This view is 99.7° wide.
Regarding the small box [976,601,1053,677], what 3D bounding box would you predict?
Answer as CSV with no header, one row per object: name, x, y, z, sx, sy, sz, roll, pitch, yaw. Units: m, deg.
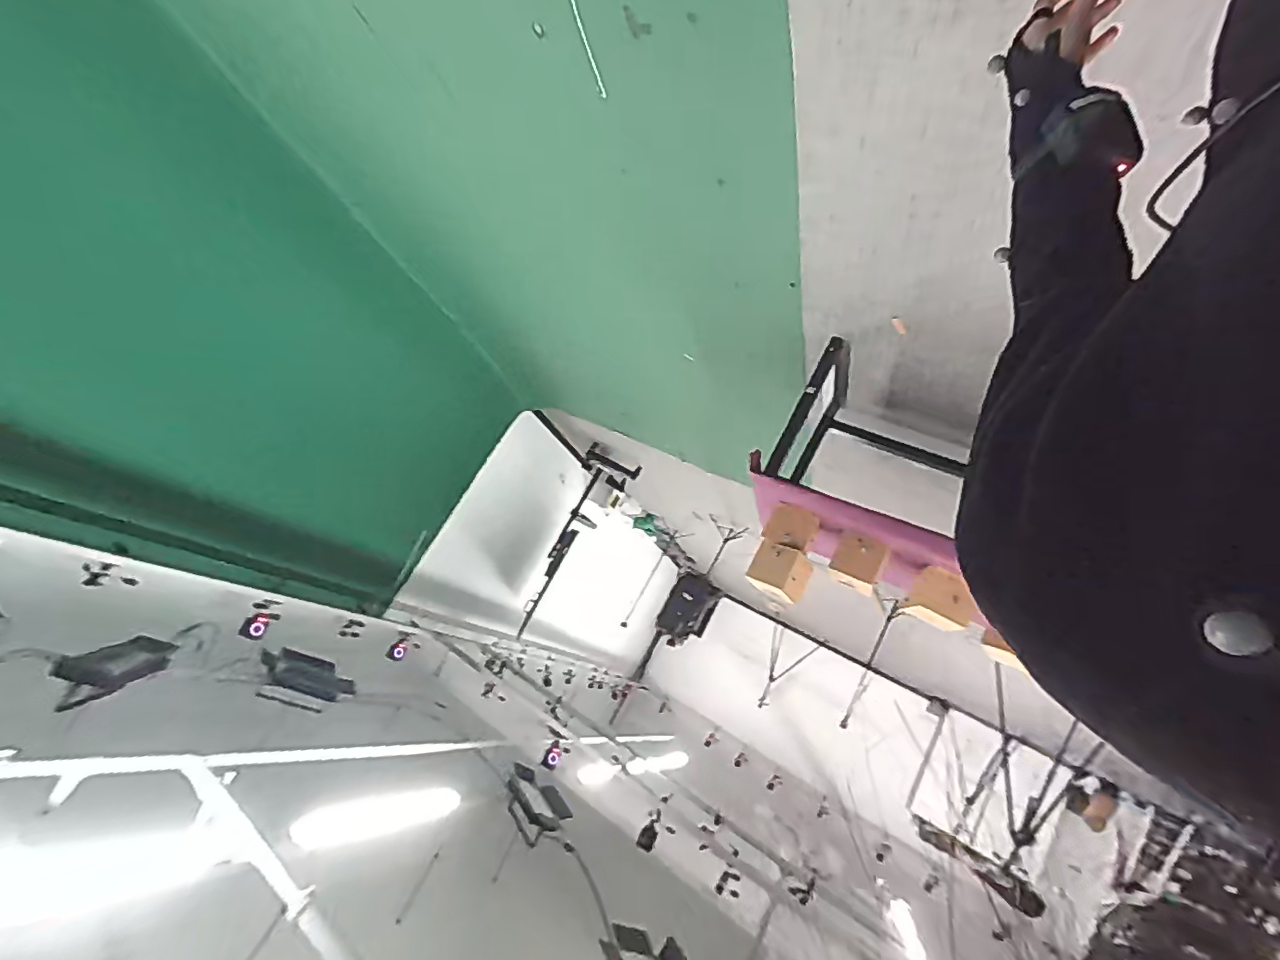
small box,1.292,0.542,1.859,0.168,0.176,0.179,13,158,51

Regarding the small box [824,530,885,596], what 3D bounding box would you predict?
small box,0.812,0.313,2.047,0.168,0.176,0.179,22,164,29

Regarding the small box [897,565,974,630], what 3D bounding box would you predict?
small box,1.052,0.415,1.919,0.168,0.176,0.179,26,167,13

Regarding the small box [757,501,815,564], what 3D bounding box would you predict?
small box,0.581,0.206,2.141,0.179,0.176,0.168,24,166,23
